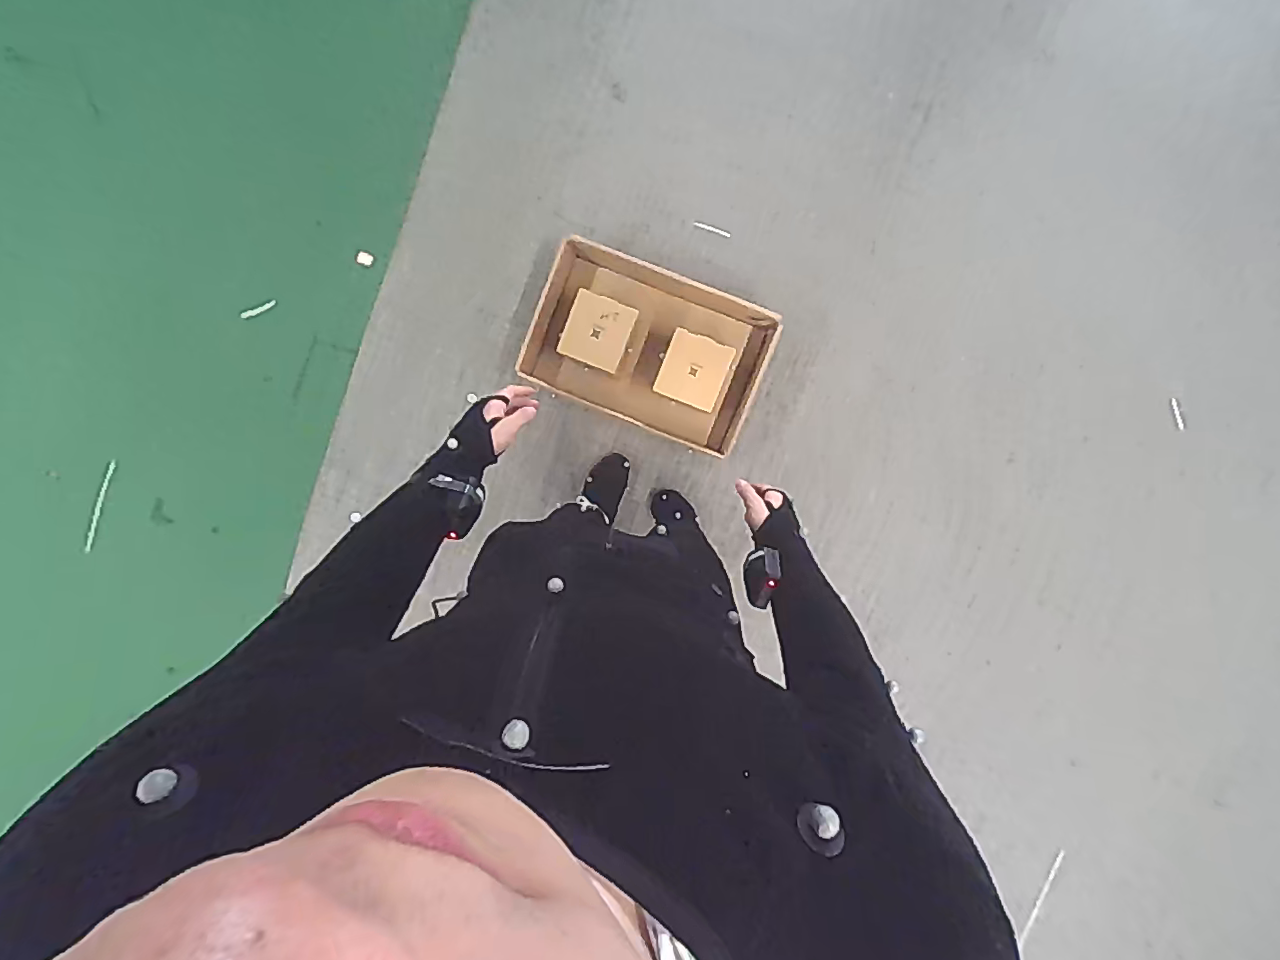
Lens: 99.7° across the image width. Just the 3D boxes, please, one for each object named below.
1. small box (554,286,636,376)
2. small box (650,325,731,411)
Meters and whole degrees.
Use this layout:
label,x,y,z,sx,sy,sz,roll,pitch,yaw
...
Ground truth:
label,x,y,z,sx,sy,sz,roll,pitch,yaw
small box,-0.113,-0.396,1.473,0.168,0.176,0.179,22,95,0
small box,0.136,-0.296,1.472,0.168,0.176,0.179,21,94,1
